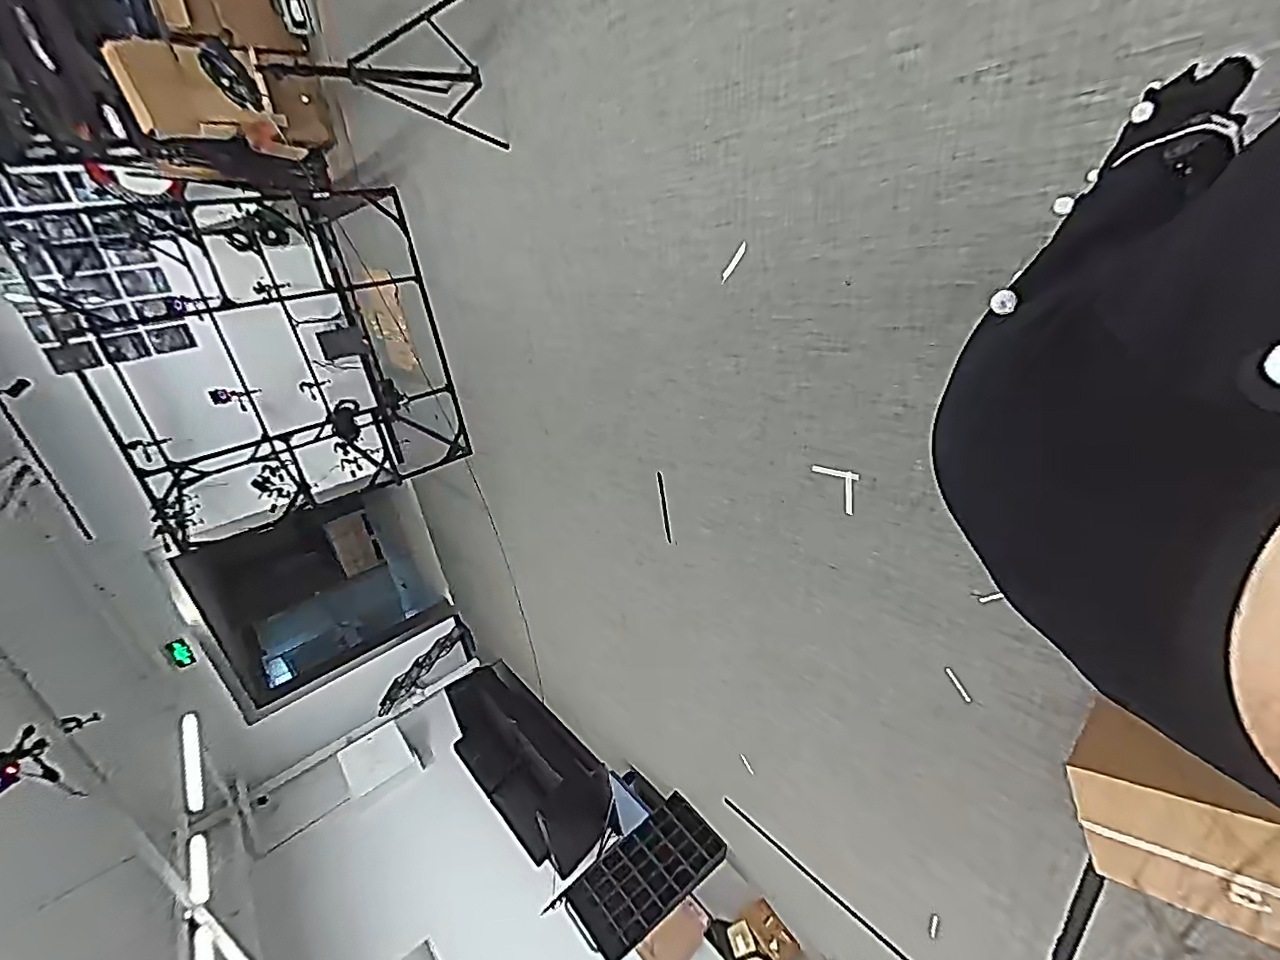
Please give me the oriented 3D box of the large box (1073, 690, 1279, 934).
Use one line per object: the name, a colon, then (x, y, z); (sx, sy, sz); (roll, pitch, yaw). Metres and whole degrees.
large box: (1.287, 0.720, 1.206); (0.408, 0.320, 0.320); (-10, 103, 55)
